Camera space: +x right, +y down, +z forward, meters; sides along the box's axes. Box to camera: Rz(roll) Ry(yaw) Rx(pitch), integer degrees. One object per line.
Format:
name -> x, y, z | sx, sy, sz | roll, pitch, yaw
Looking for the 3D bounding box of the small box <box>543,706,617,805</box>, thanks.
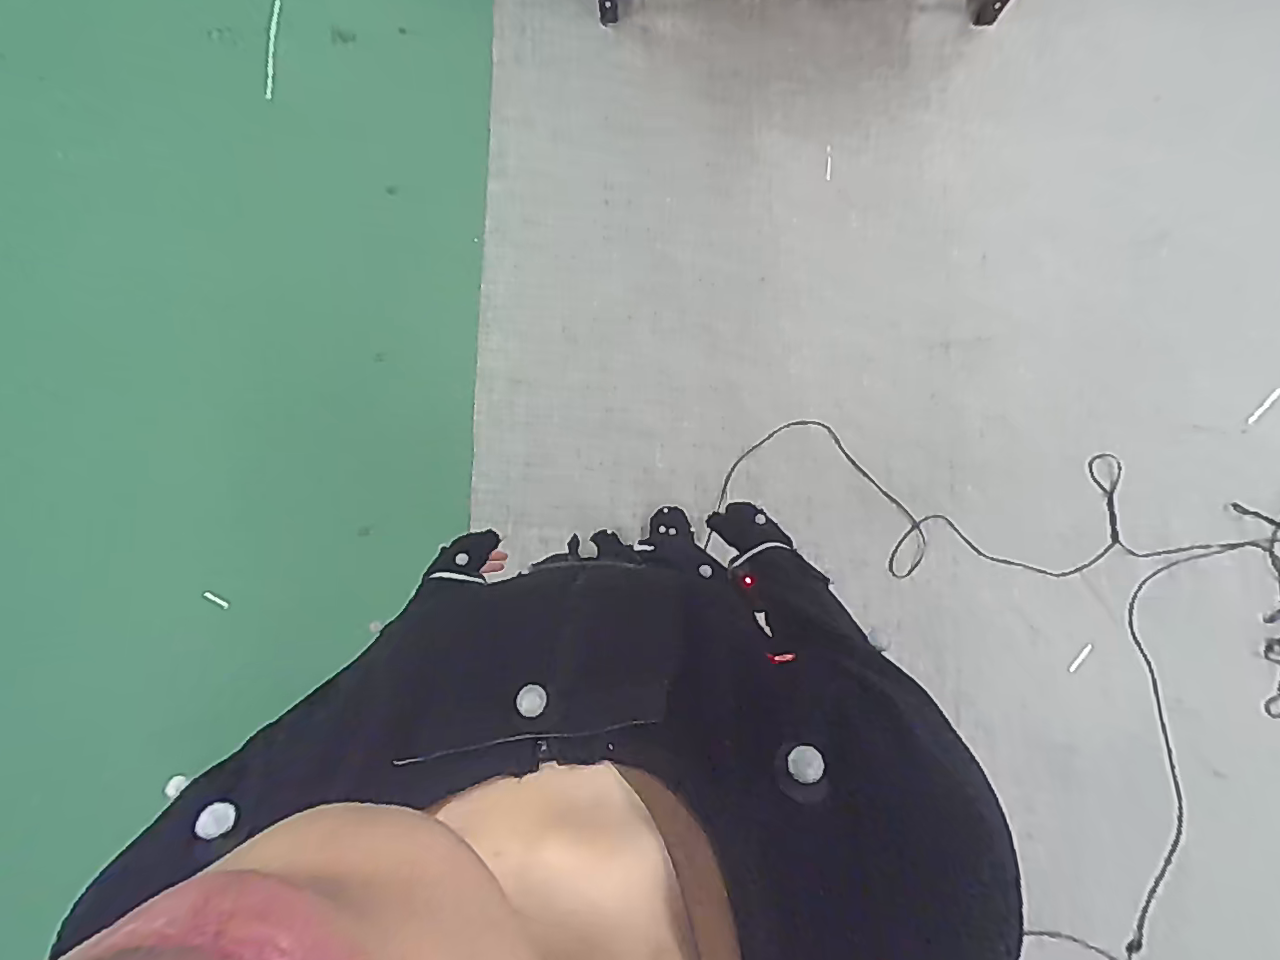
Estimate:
small box -> -0.145, 0.684, 1.362 | 0.168, 0.176, 0.179 | 3, 86, 0
